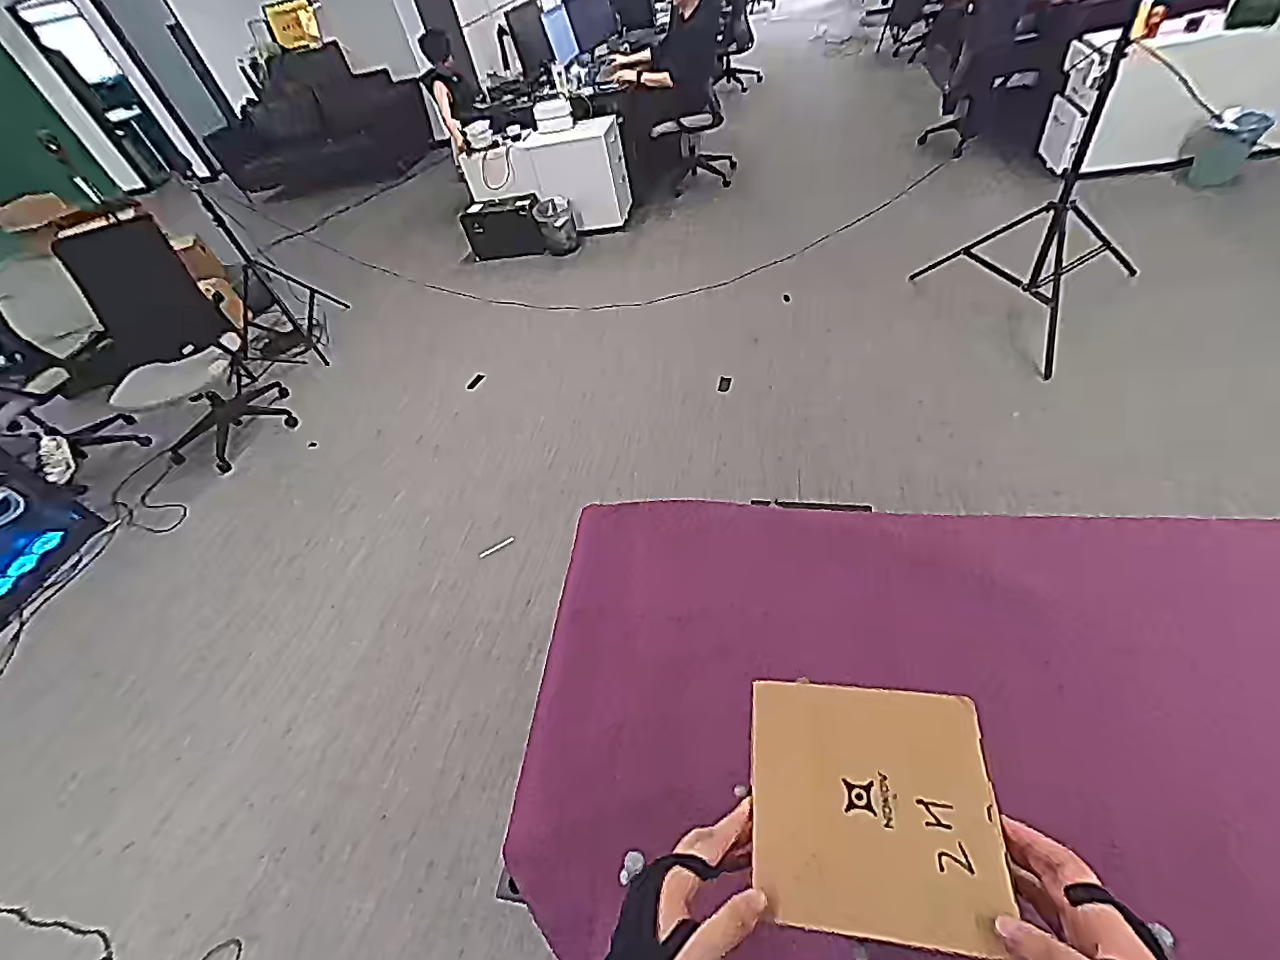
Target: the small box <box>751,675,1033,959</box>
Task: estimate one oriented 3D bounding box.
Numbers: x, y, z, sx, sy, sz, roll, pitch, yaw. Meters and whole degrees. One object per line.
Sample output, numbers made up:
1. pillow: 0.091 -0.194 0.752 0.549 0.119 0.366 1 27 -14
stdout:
1. small box: 0.186 0.283 0.464 0.179 0.176 0.168 1 53 11
